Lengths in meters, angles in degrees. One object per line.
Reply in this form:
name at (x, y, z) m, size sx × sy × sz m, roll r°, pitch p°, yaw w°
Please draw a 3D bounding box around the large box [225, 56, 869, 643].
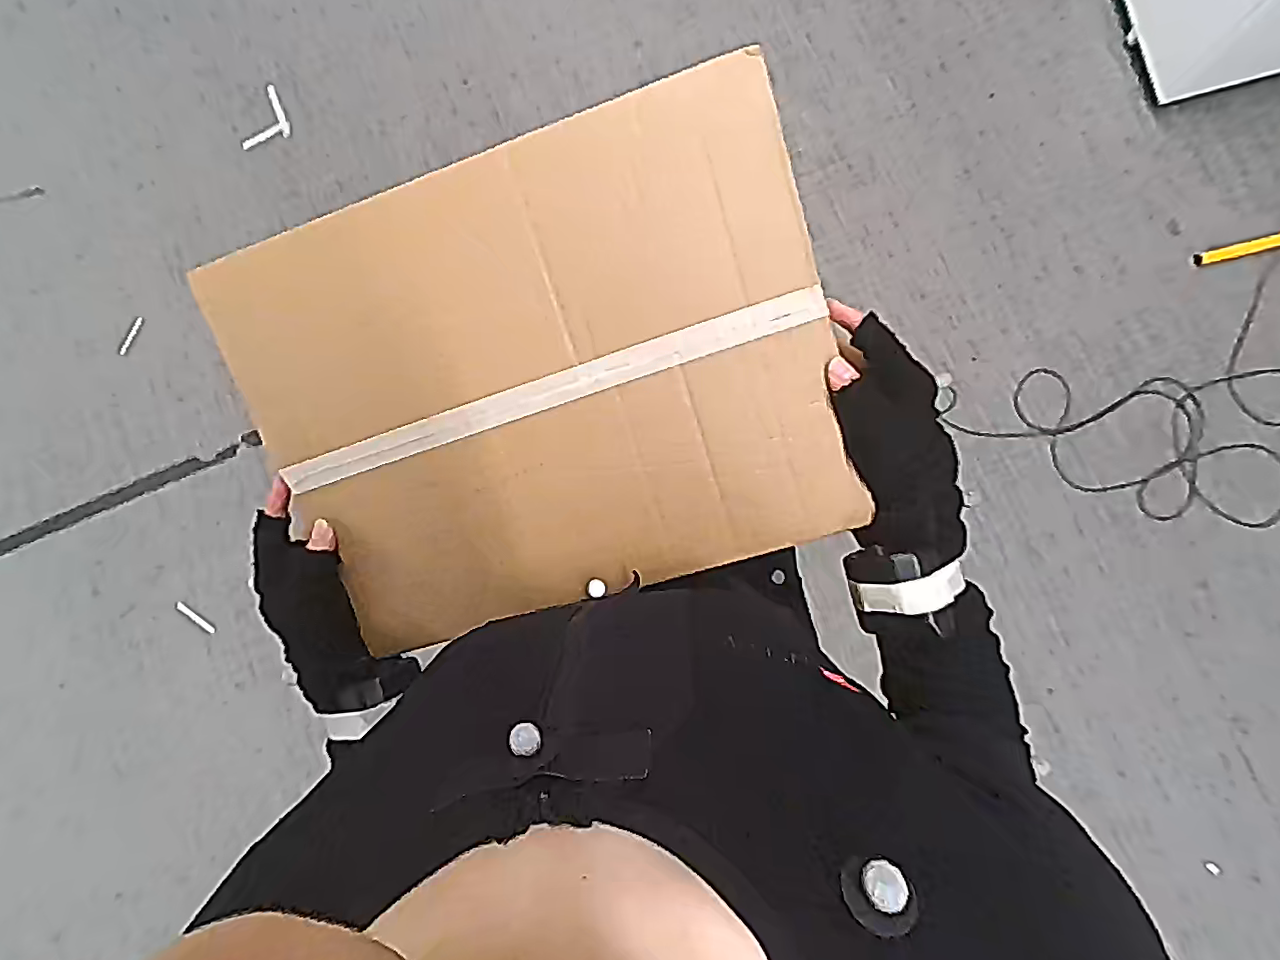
large box at (-0.058, -0.096, 0.532) m, size 0.408 × 0.320 × 0.320 m, roll -17°, pitch 102°, yaw 7°
